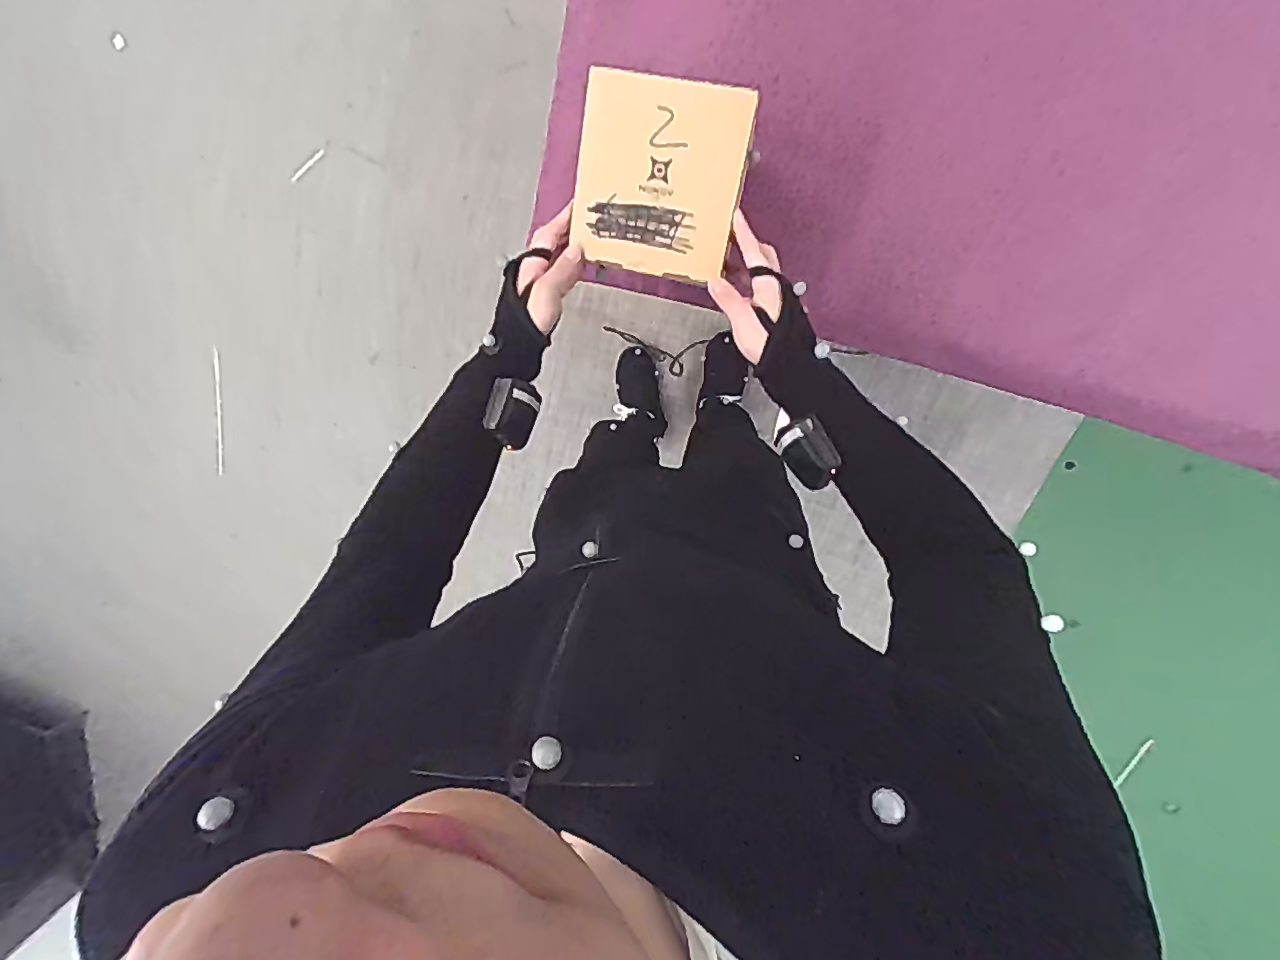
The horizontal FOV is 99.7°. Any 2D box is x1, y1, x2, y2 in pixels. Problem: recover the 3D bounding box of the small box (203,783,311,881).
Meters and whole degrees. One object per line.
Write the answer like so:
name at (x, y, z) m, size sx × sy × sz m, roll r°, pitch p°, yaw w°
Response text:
small box at (-1.160, 1.070, 1.652) m, size 0.179 × 0.176 × 0.168 m, roll -28°, pitch 101°, yaw 17°
